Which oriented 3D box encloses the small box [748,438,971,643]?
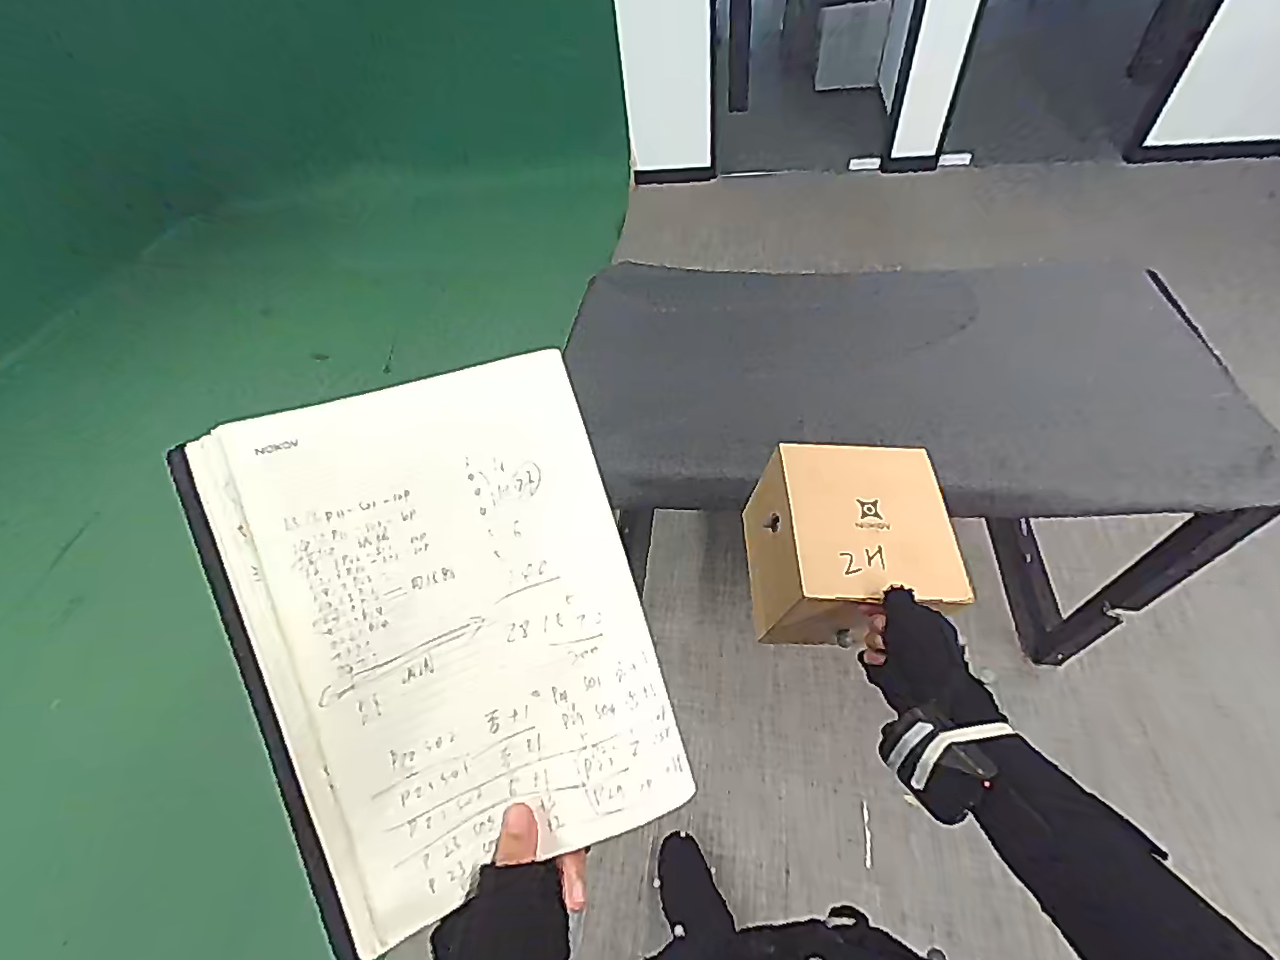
[{"bbox_3d":[0.226,0.073,0.616,0.168,0.176,0.179,2,59,-3],"label":"small box"}]
